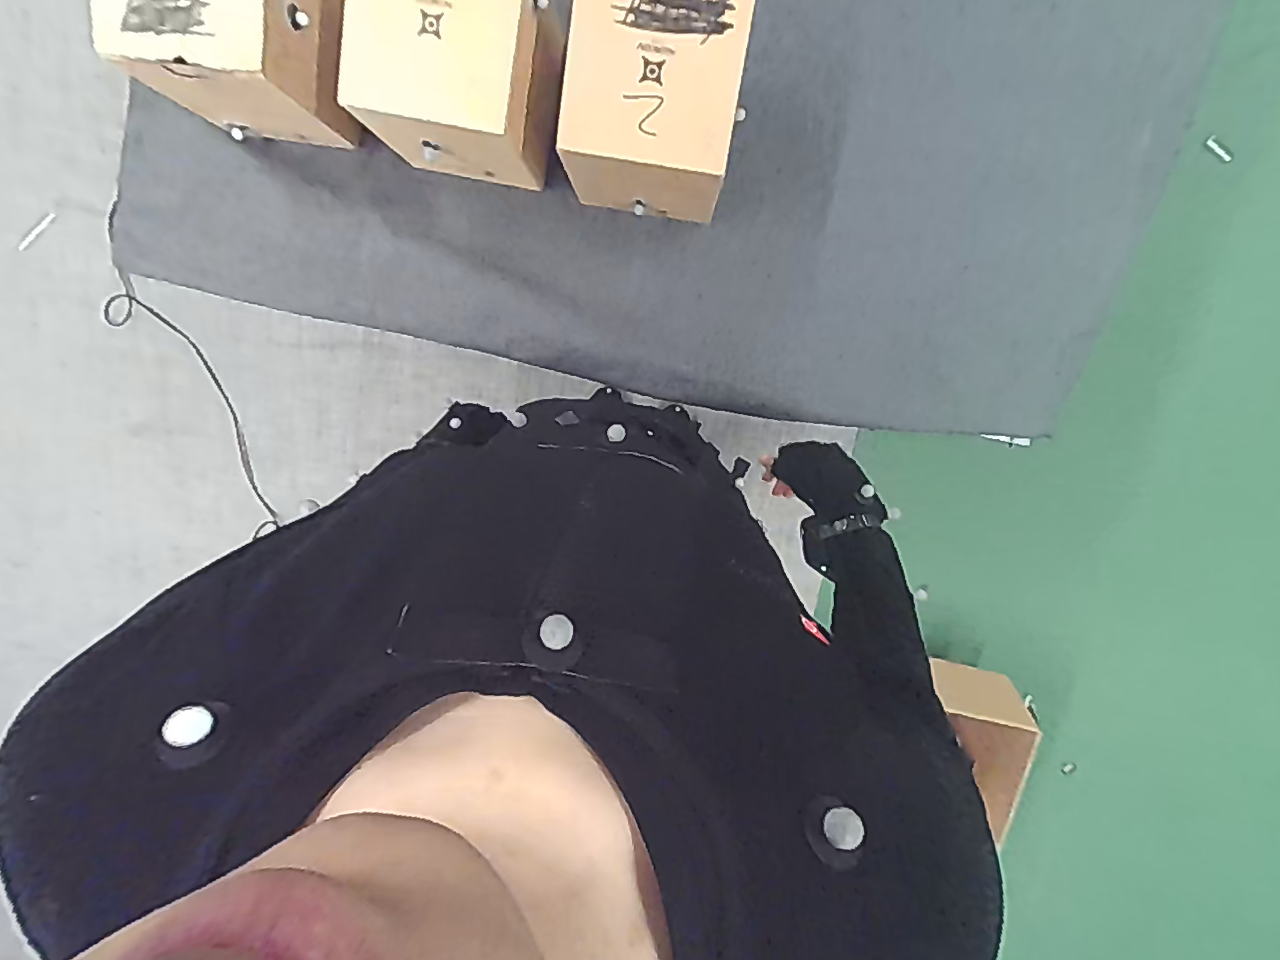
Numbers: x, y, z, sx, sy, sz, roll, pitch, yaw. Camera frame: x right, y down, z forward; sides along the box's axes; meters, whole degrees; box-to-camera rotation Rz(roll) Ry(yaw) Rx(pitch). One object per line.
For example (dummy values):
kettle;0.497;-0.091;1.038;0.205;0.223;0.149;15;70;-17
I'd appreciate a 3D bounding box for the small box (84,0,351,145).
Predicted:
small box;-0.423;-0.486;0.570;0.168;0.176;0.179;7;100;0

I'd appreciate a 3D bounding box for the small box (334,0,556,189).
small box;-0.192;-0.437;0.575;0.168;0.176;0.179;11;100;-1
